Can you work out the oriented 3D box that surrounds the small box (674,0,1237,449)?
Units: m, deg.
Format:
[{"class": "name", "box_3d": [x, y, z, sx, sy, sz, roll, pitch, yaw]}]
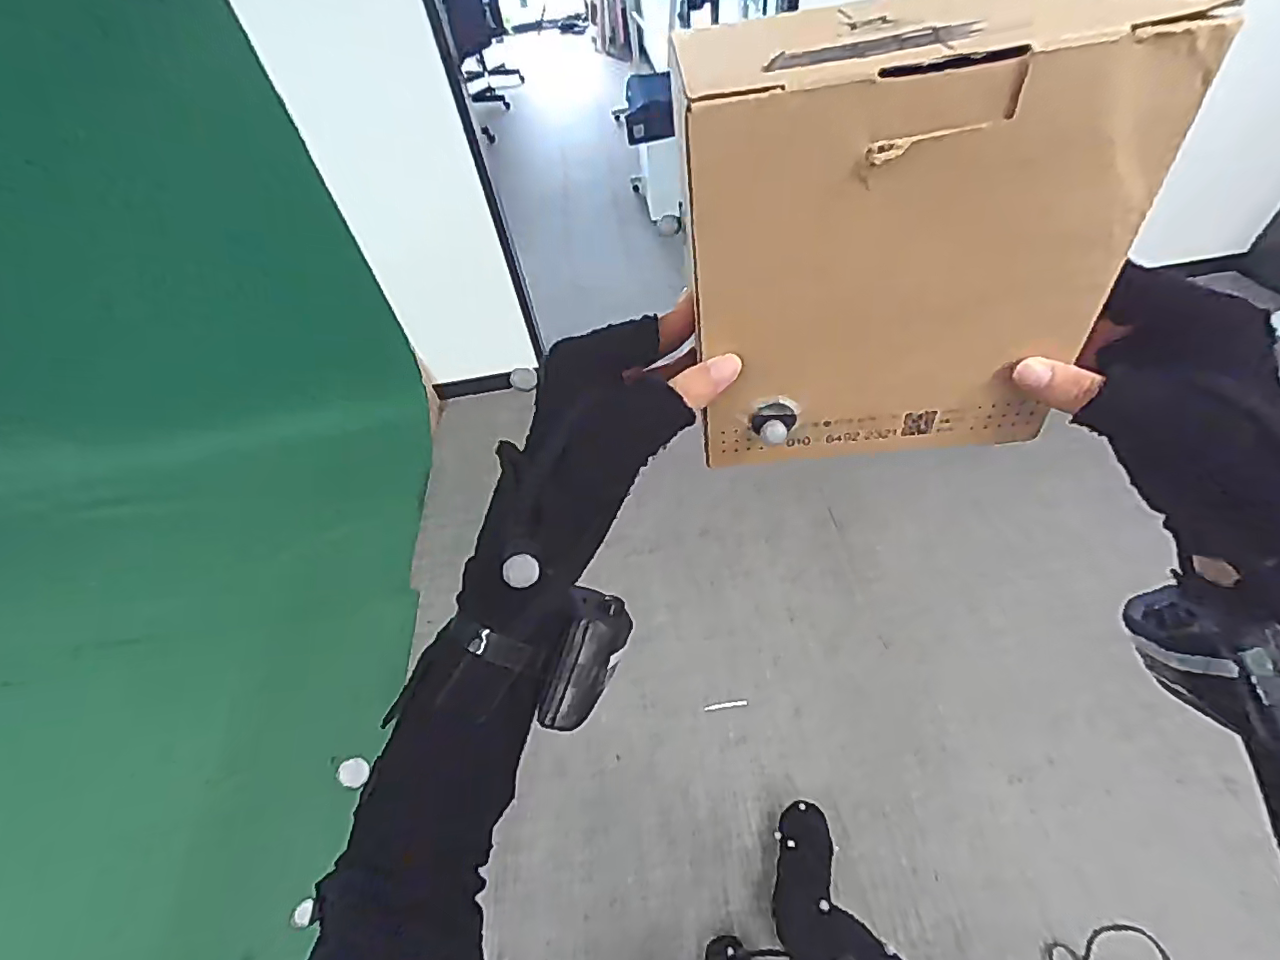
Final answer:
[{"class": "small box", "box_3d": [0.109, -0.128, 0.280, 0.168, 0.176, 0.179, -5, 44, 6]}]
